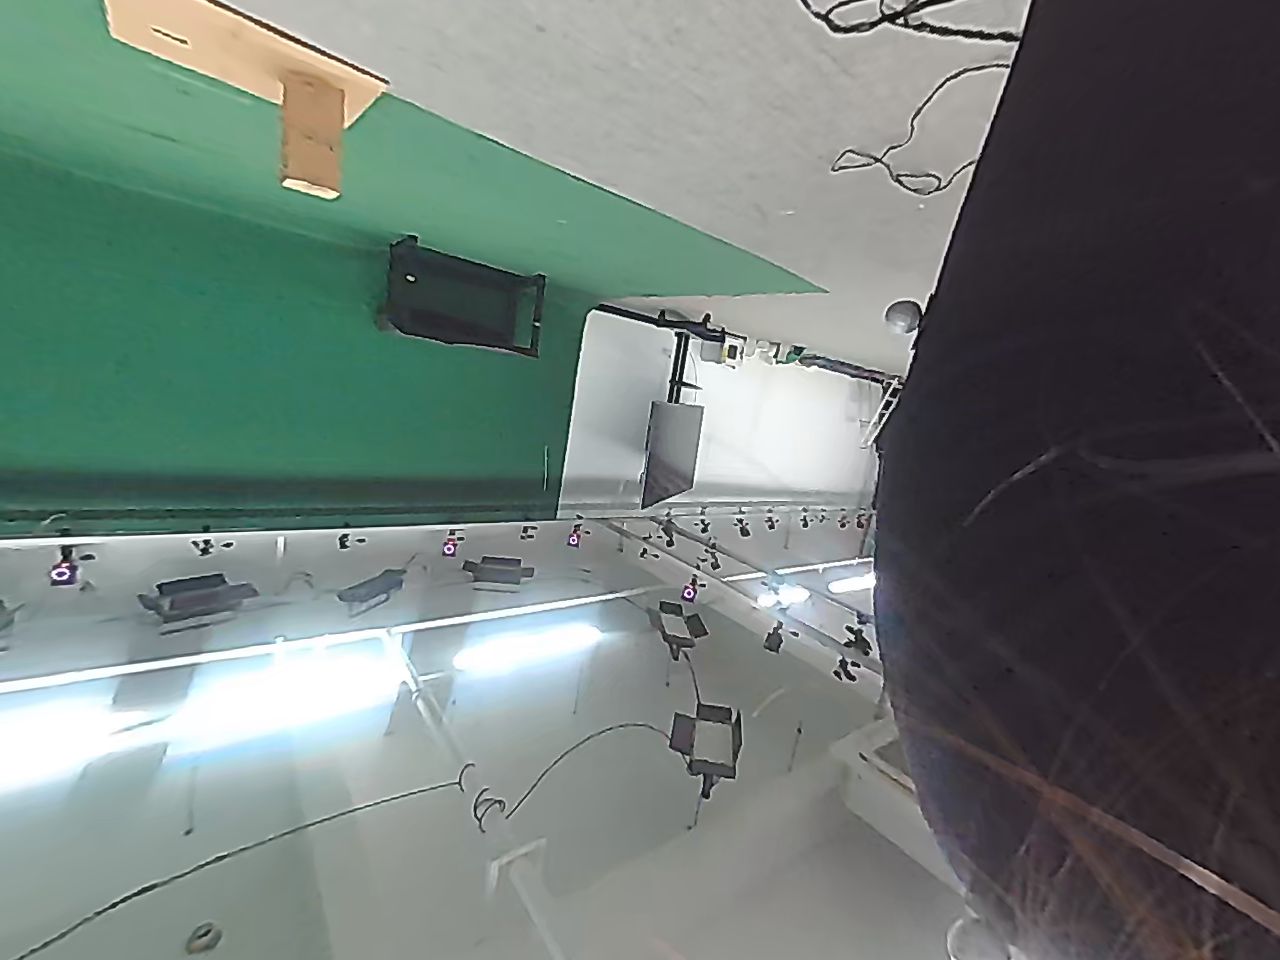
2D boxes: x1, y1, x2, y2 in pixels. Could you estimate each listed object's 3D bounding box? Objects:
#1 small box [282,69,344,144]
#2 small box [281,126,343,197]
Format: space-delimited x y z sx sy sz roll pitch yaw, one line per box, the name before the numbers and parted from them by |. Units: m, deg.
small box | -1.155 -1.303 1.912 0.168 0.176 0.179 -1 -166 -40
small box | -1.180 -1.144 1.943 0.168 0.176 0.179 -1 -165 -42
